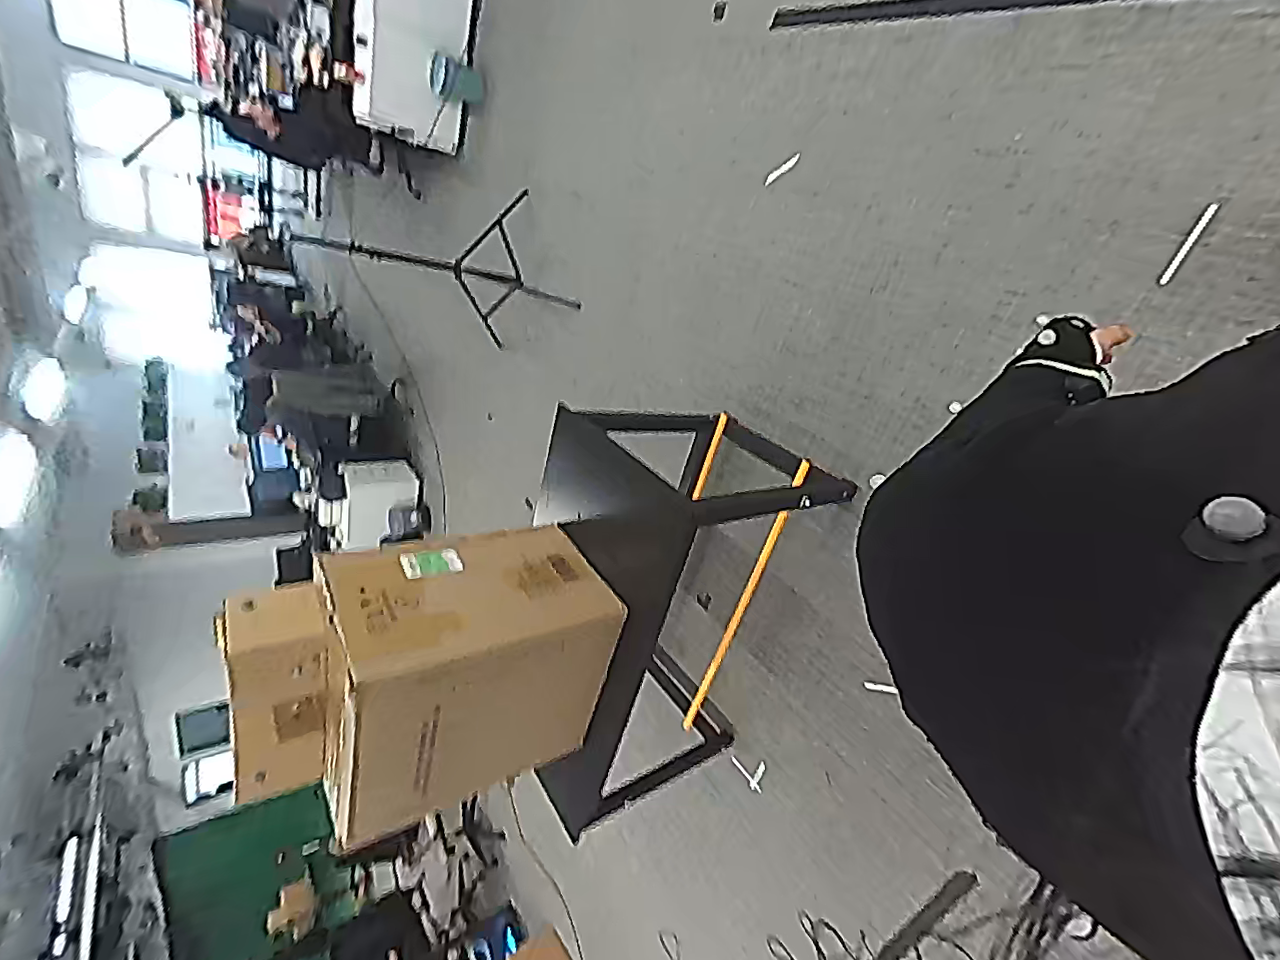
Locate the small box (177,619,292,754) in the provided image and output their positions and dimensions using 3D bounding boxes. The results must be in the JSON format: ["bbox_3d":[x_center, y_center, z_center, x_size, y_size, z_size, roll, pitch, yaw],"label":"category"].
[{"bbox_3d":[-0.808,0.401,1.084,0.179,0.176,0.168,41,125,43],"label":"small box"}]

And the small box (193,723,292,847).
[{"bbox_3d":[-0.877,0.655,1.198,0.168,0.176,0.179,42,123,41],"label":"small box"}]
